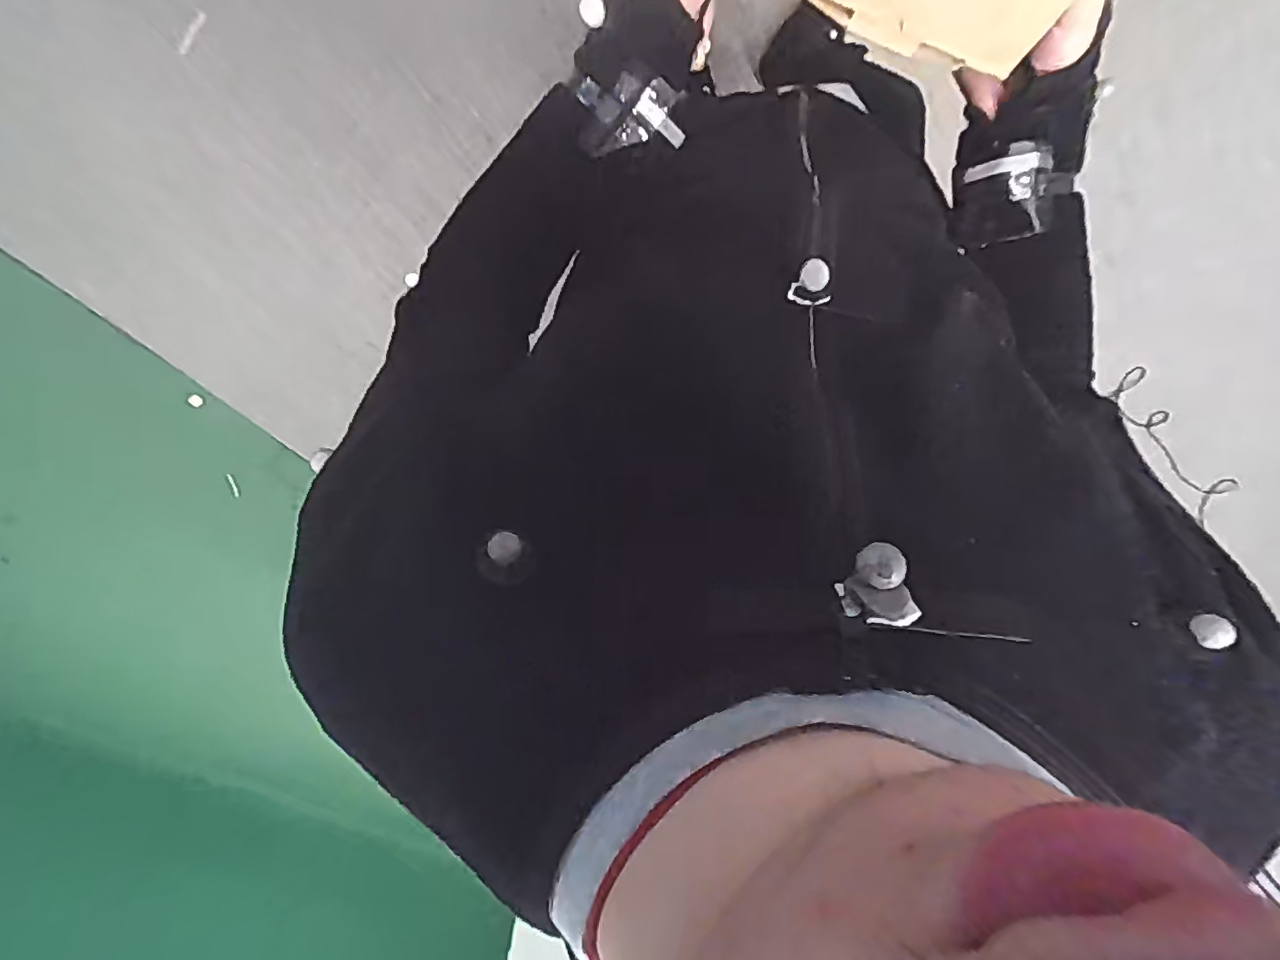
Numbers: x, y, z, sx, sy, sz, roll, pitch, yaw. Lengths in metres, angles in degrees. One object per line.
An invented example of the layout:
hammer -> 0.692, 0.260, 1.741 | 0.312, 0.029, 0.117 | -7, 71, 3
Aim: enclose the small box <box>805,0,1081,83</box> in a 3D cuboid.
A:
small box -> 0.158, -0.344, 0.247 | 0.168, 0.176, 0.179 | 5, 154, -18
